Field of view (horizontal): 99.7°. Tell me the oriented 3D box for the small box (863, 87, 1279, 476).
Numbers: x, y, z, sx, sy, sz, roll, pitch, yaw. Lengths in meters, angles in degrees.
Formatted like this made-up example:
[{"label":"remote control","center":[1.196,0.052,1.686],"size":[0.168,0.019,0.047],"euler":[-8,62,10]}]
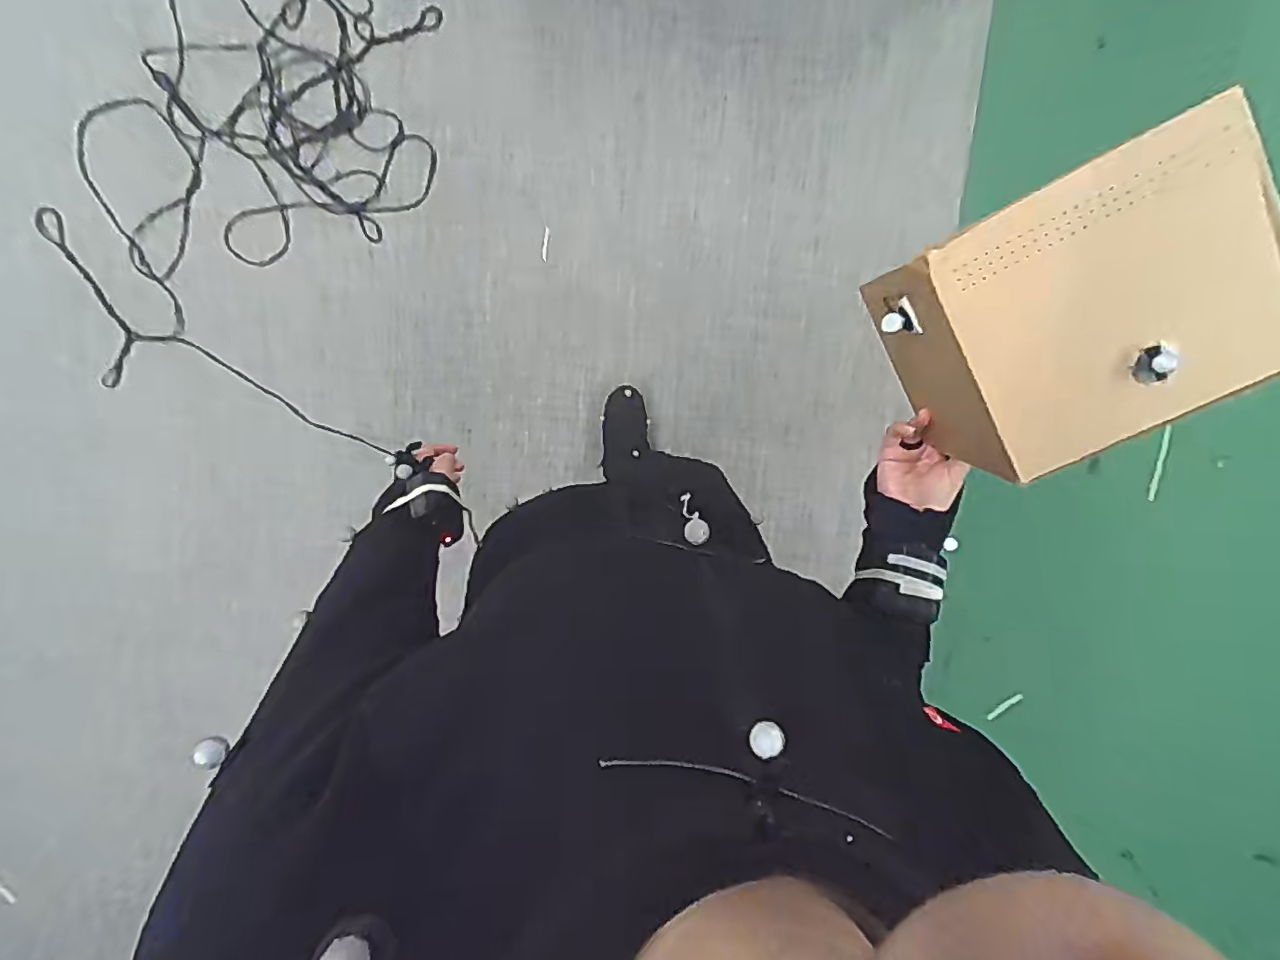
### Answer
[{"label":"small box","center":[0.294,-0.127,0.391],"size":[0.179,0.168,0.176],"euler":[-26,96,14]}]
